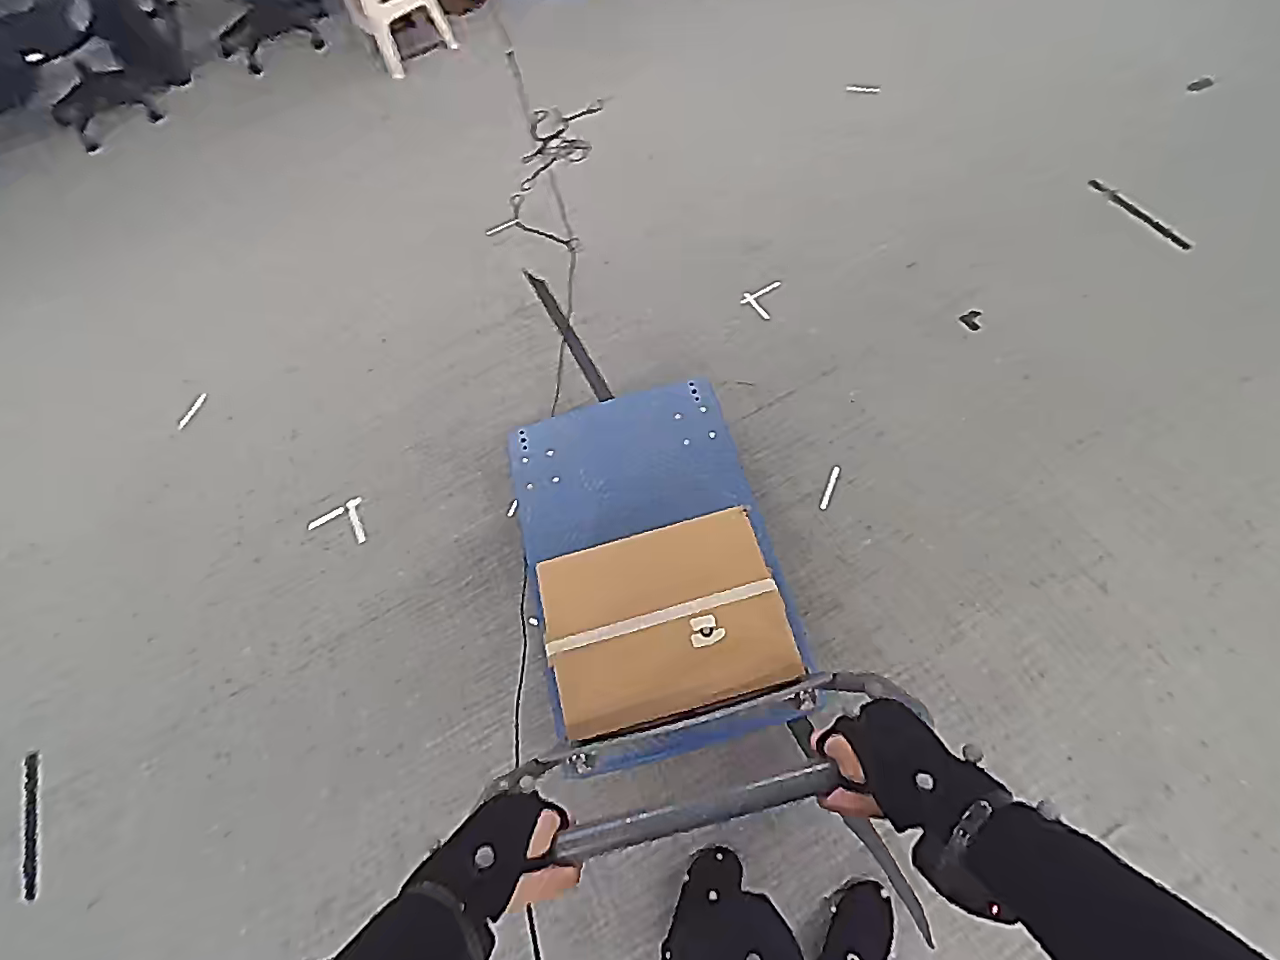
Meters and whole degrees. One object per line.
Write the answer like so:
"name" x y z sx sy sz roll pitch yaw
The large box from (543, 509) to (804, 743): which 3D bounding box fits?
"large box" 0.060 0.305 1.088 0.408 0.320 0.320 -16 66 -1
